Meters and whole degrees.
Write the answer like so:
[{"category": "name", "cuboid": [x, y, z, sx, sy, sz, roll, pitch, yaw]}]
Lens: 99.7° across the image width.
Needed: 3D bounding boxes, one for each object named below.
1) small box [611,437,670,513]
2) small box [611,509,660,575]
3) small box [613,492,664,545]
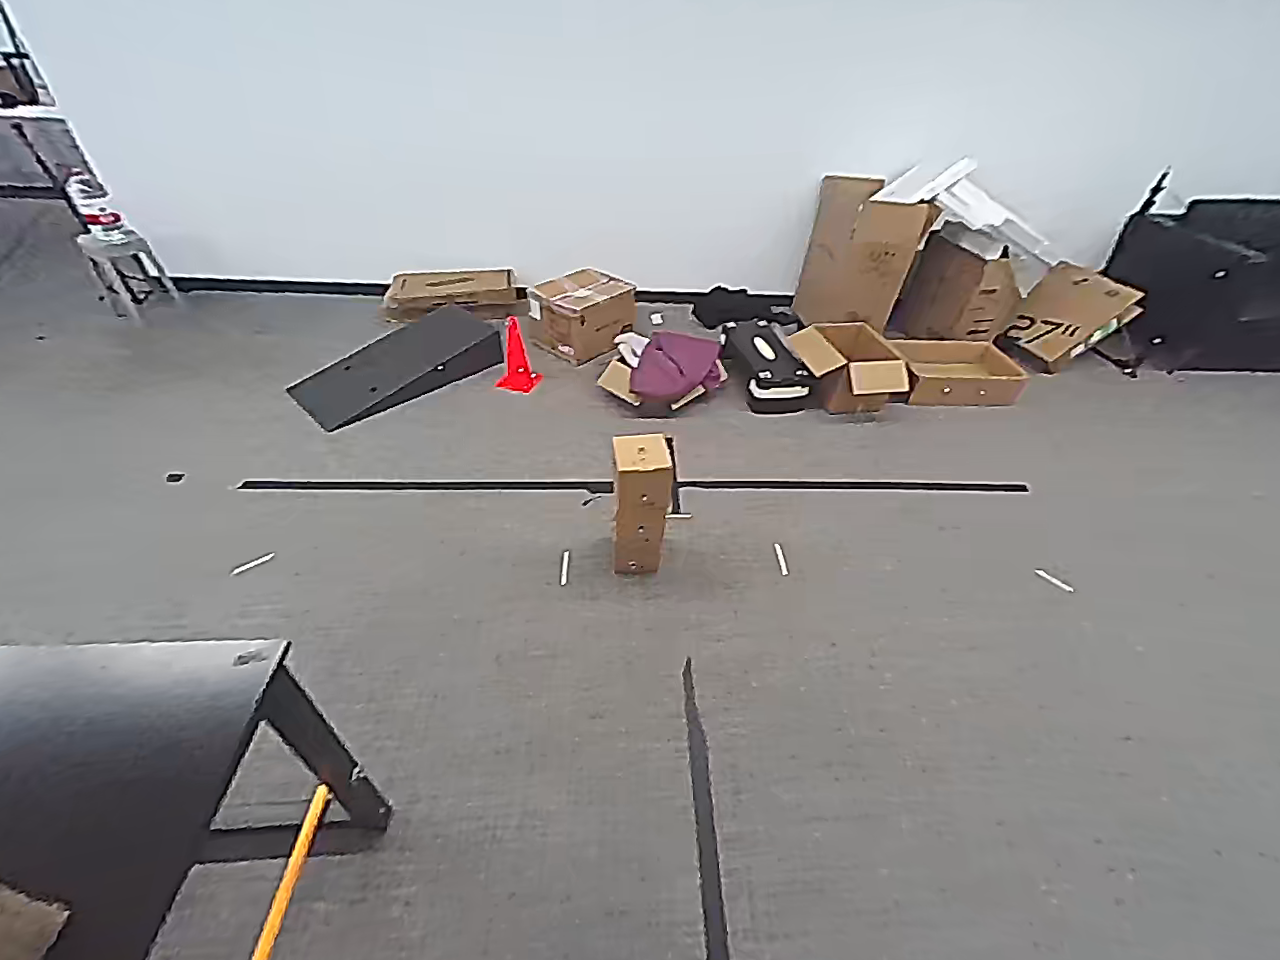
[{"category": "small box", "cuboid": [-0.003, -0.017, 1.723, 0.168, 0.176, 0.179, -5, 41, -7]}, {"category": "small box", "cuboid": [-0.020, 0.222, 1.951, 0.168, 0.176, 0.179, -2, 42, -4]}, {"category": "small box", "cuboid": [-0.008, 0.108, 1.832, 0.168, 0.176, 0.179, -1, 41, -4]}]
